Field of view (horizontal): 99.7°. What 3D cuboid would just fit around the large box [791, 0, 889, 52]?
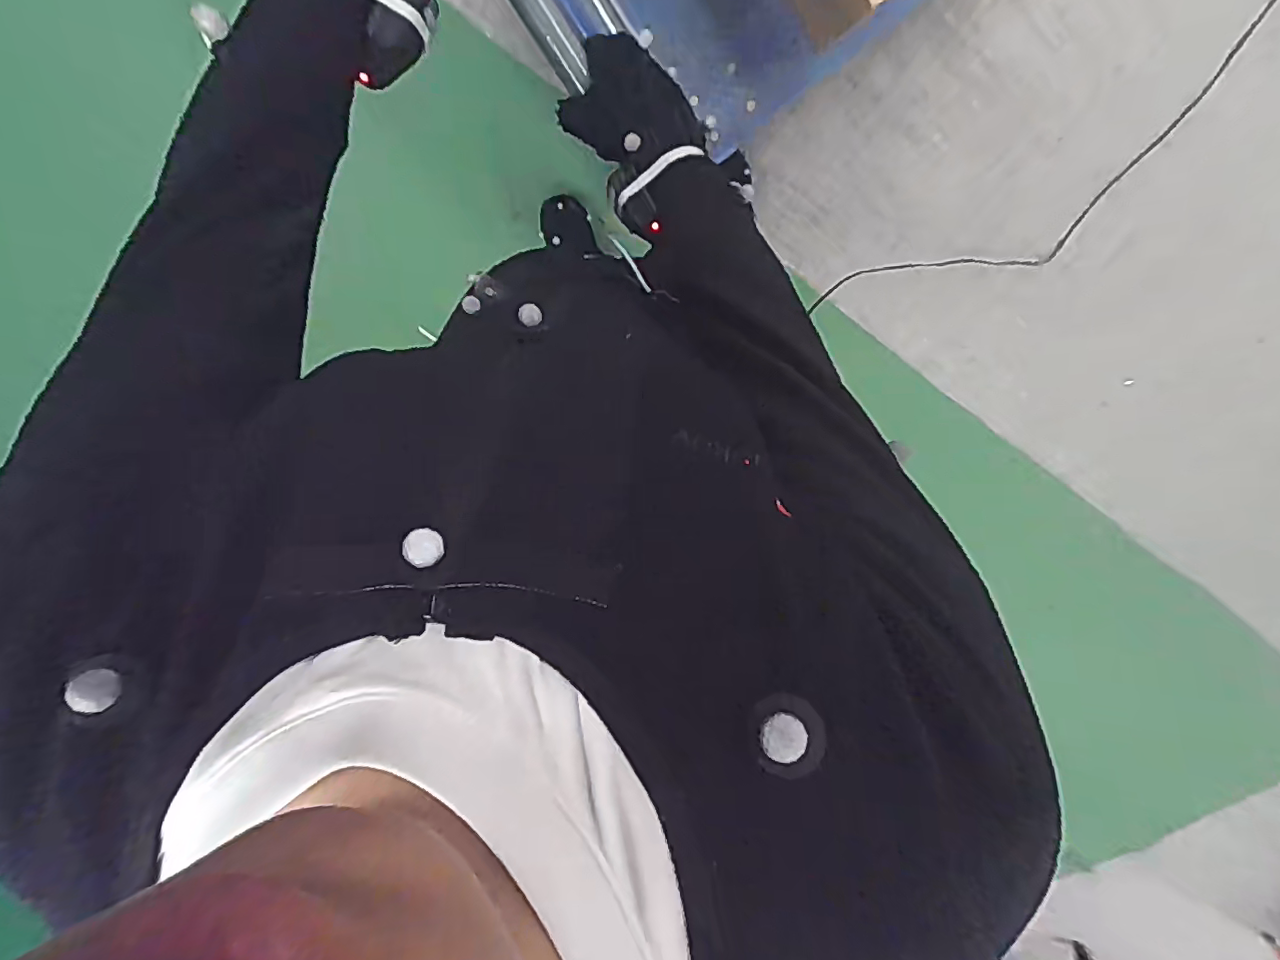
[{"bbox_3d":[0.307,-0.903,0.717,0.320,0.320,0.408,-33,111,19],"label":"large box"}]
